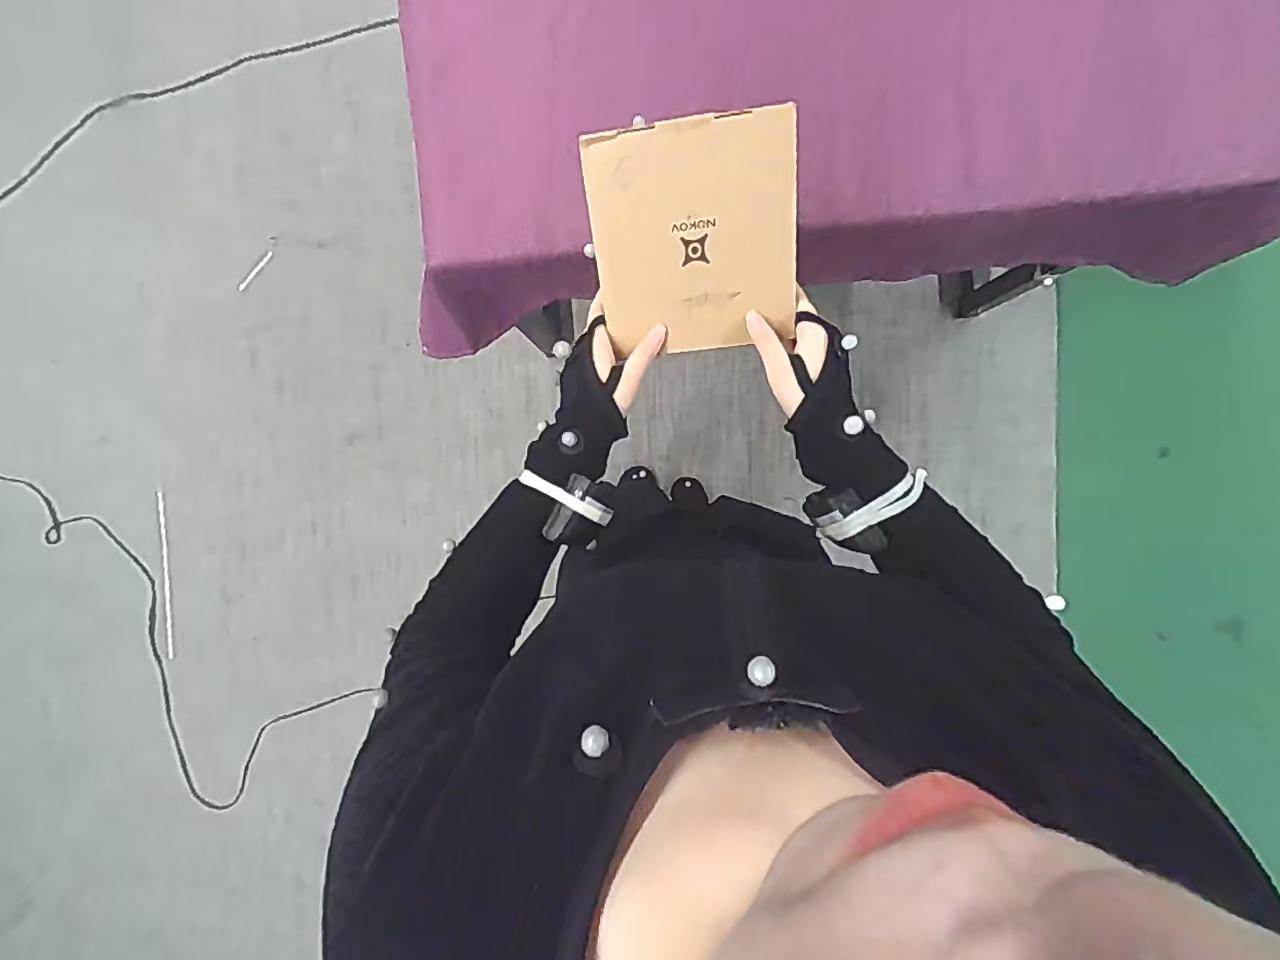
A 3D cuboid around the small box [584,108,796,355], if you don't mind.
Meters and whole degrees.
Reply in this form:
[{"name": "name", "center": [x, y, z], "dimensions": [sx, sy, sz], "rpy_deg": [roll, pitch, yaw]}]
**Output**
[{"name": "small box", "center": [0.047, -0.232, 0.519], "dimensions": [0.168, 0.176, 0.179], "rpy_deg": [-4, 117, 5]}]
